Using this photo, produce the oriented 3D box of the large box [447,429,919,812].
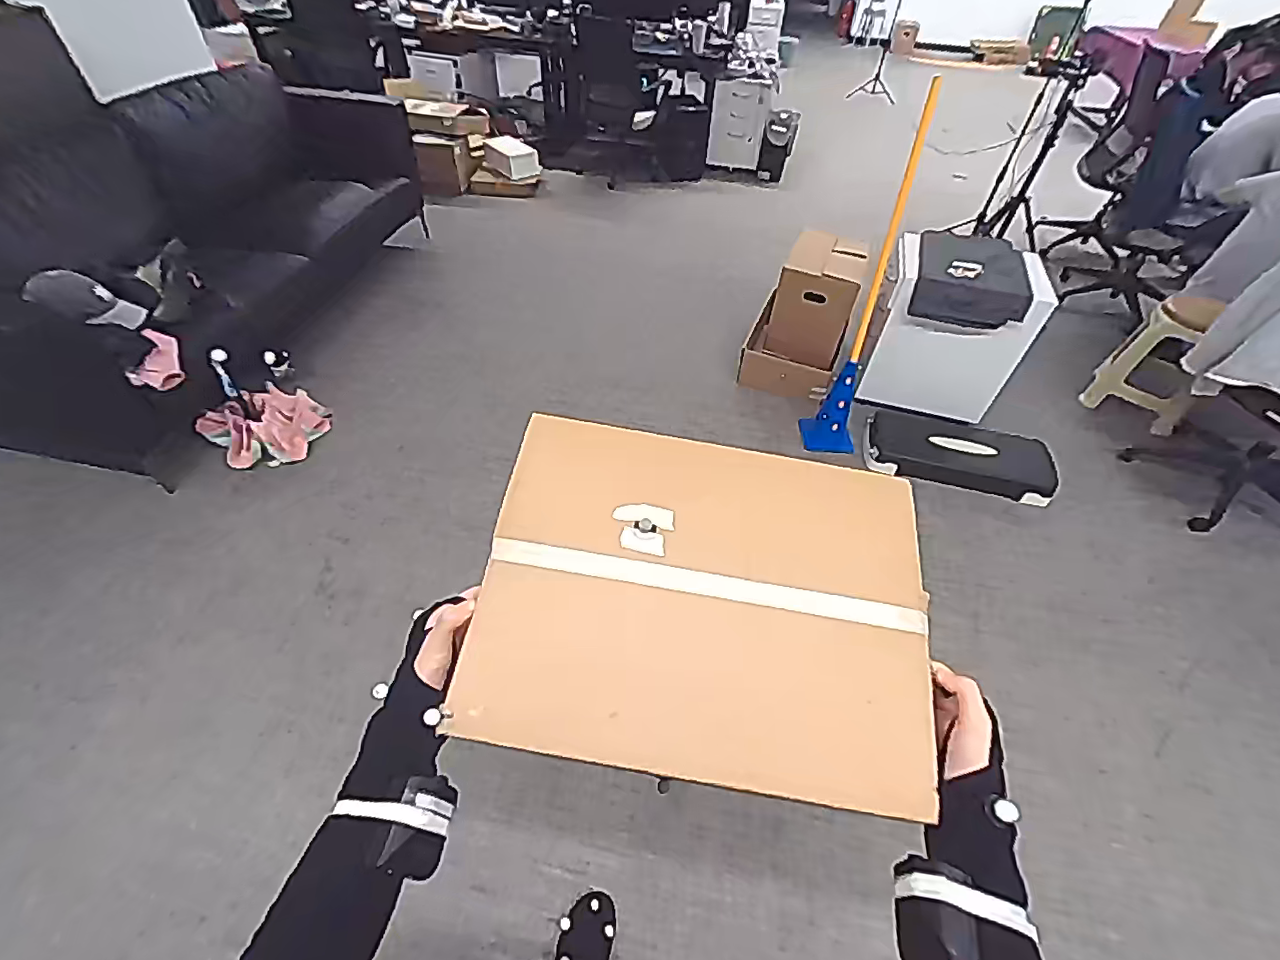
[{"bbox_3d":[0.050,0.173,0.645,0.408,0.320,0.320,10,62,2],"label":"large box"}]
